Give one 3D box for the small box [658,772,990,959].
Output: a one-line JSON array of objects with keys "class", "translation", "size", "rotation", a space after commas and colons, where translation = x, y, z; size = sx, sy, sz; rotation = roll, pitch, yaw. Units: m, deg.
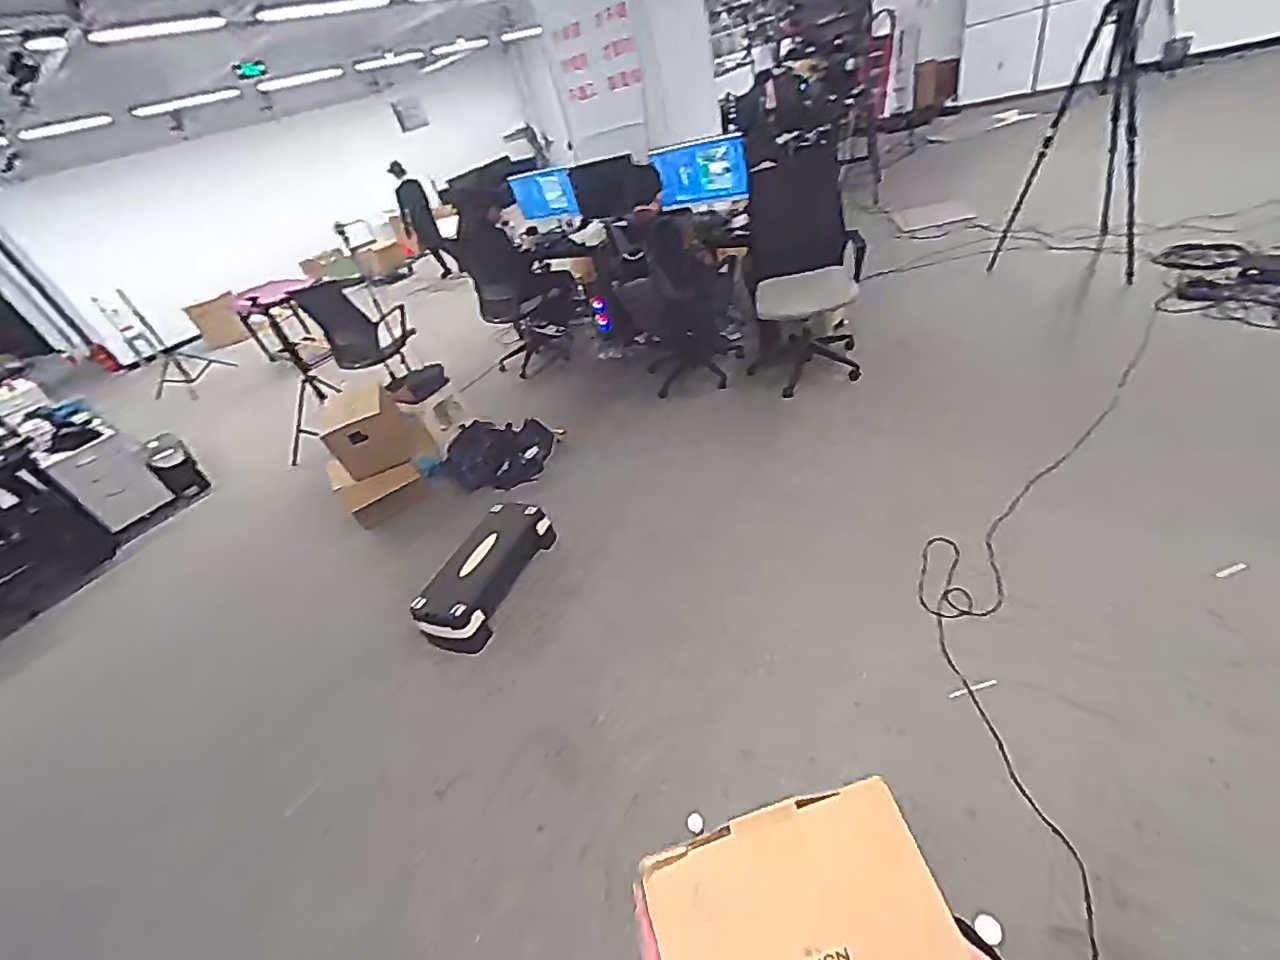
[{"class": "small box", "translation": [0.111, 0.319, 0.356], "size": [0.168, 0.176, 0.179], "rotation": [-14, 58, -8]}]
